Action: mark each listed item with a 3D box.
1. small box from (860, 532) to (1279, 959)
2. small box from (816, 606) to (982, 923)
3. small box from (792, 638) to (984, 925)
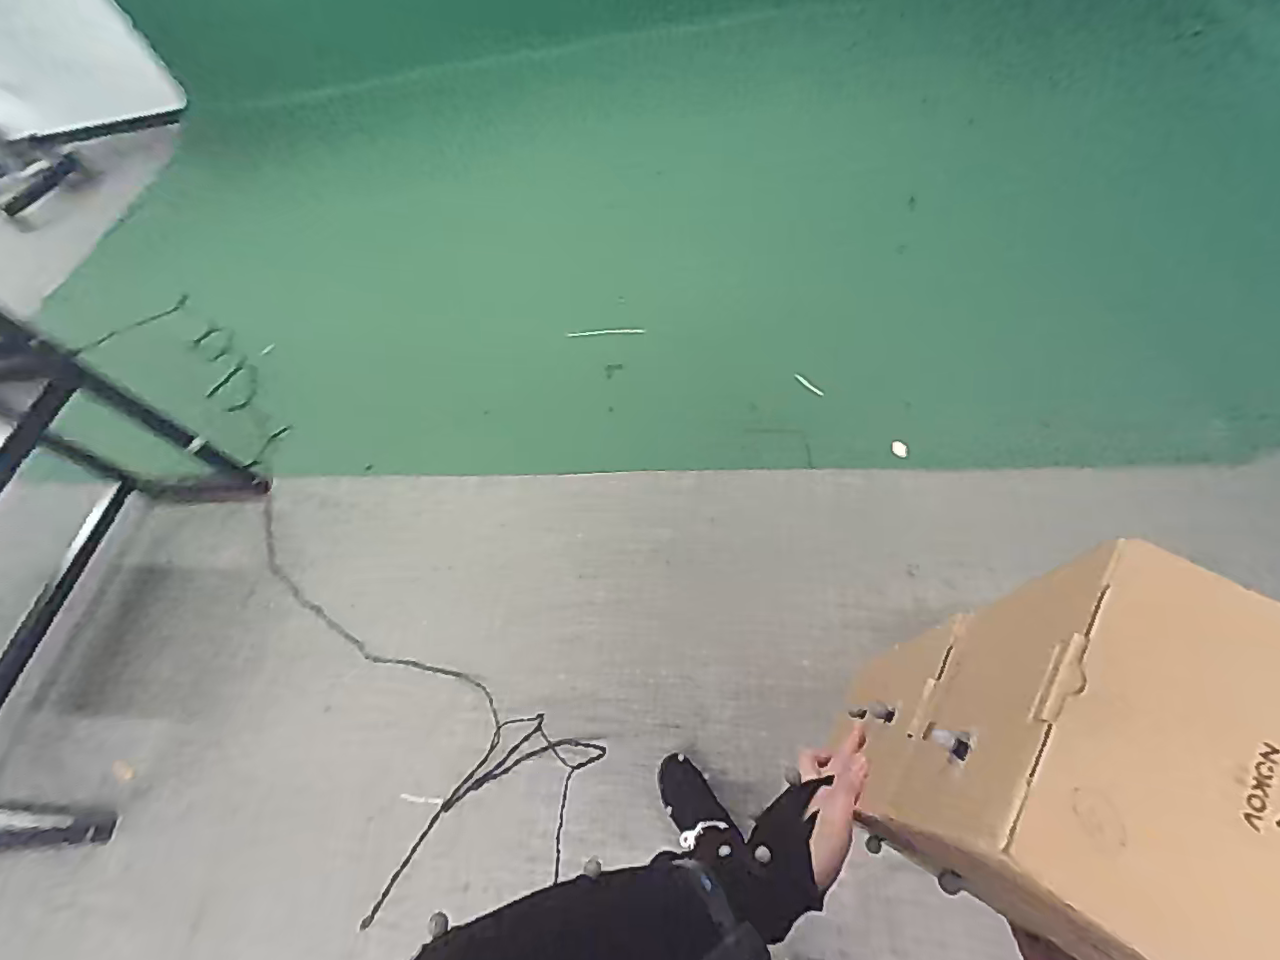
[{"bbox_3d":[0.239,0.161,0.266,0.179,0.176,0.168,34,72,19],"label":"small box"},{"bbox_3d":[0.257,0.228,0.415,0.179,0.176,0.168,29,71,19],"label":"small box"},{"bbox_3d":[0.272,0.297,0.563,0.168,0.176,0.179,28,69,18],"label":"small box"}]
